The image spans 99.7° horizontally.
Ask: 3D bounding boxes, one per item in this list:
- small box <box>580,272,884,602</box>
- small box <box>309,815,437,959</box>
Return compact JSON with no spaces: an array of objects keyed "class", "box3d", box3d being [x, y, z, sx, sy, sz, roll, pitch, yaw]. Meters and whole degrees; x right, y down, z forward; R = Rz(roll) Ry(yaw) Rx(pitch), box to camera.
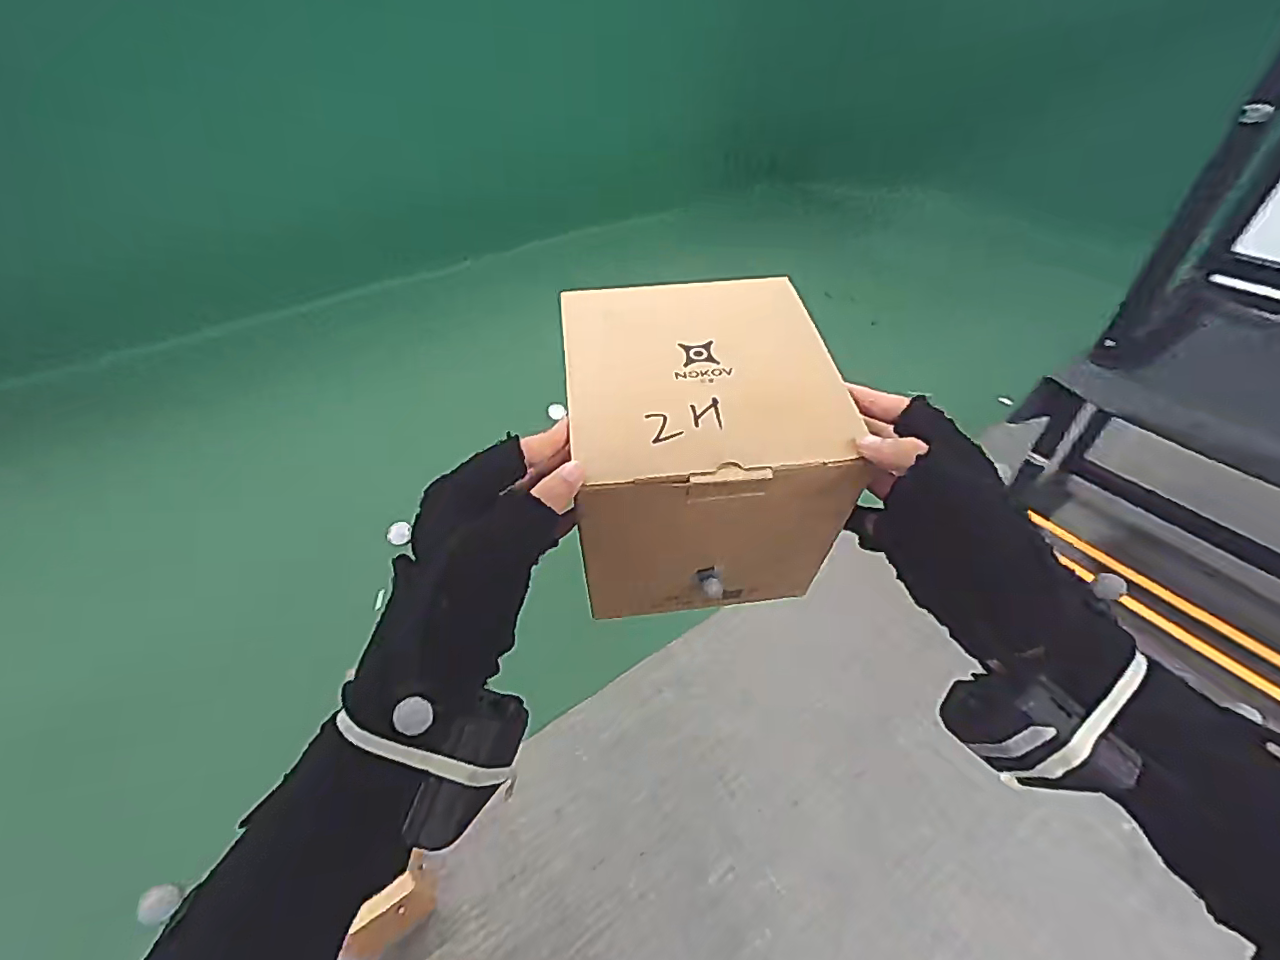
[{"class":"small box","box3d":[0.043,-0.031,0.401,0.168,0.176,0.179,-5,51,-4]},{"class":"small box","box3d":[-0.564,0.870,1.154,0.179,0.176,0.168,-27,49,-24]}]
